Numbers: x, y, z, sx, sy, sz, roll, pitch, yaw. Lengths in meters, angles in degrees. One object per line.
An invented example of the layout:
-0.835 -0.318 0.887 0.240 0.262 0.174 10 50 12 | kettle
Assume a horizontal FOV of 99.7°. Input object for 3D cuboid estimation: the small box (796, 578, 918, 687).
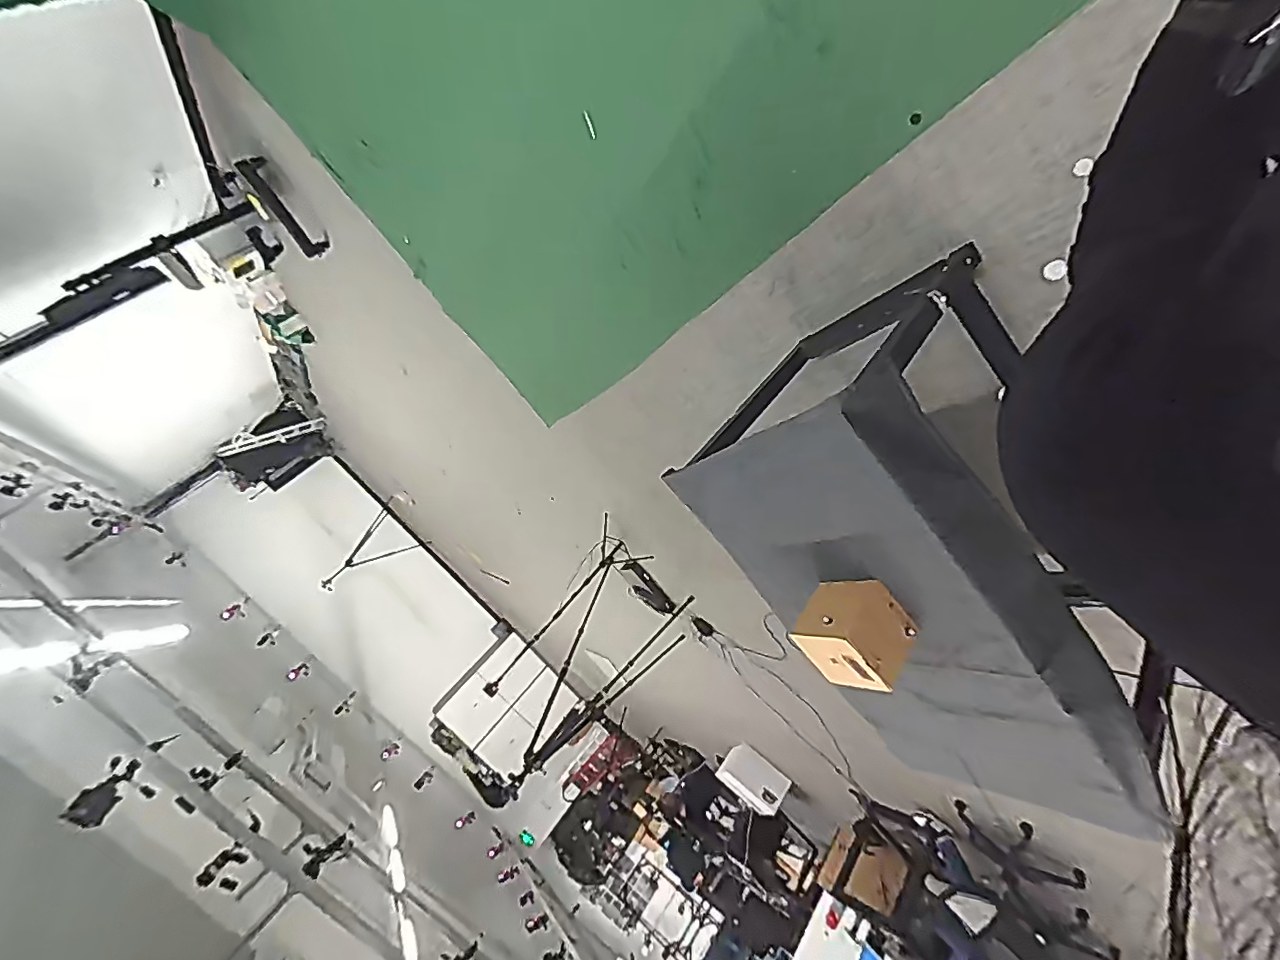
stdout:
0.497 0.336 1.225 0.168 0.176 0.179 49 153 -9 | small box
